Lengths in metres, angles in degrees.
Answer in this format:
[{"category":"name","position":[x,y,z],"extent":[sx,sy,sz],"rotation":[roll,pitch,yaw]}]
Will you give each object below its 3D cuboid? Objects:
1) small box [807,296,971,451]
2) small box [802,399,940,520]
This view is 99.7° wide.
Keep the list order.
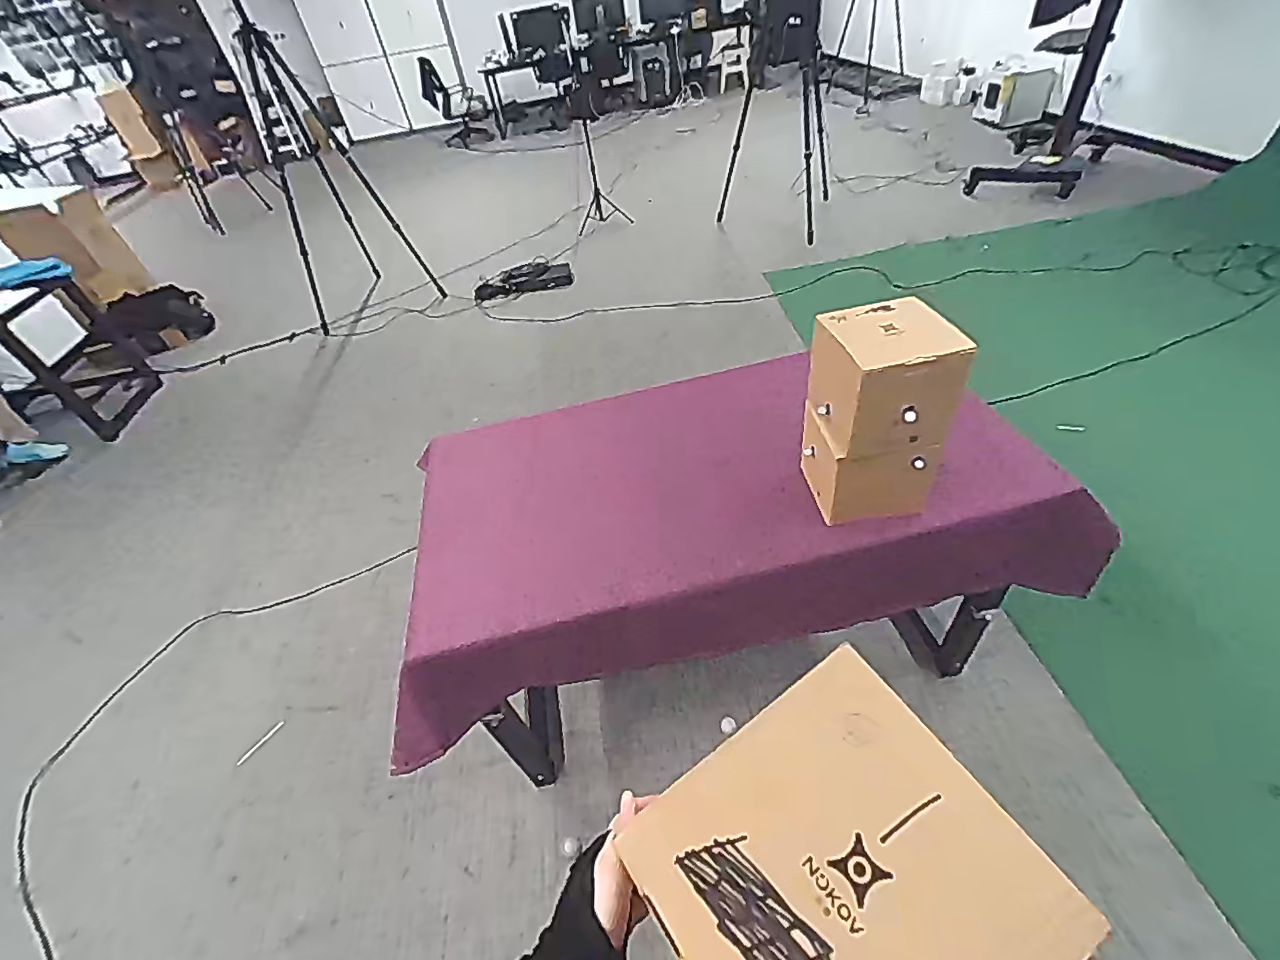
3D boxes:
[{"category":"small box","position":[0.377,-0.162,0.856],"extent":[0.168,0.176,0.179],"rotation":[-11,44,-1]},{"category":"small box","position":[0.397,-0.045,0.969],"extent":[0.179,0.176,0.168],"rotation":[-9,44,2]}]
